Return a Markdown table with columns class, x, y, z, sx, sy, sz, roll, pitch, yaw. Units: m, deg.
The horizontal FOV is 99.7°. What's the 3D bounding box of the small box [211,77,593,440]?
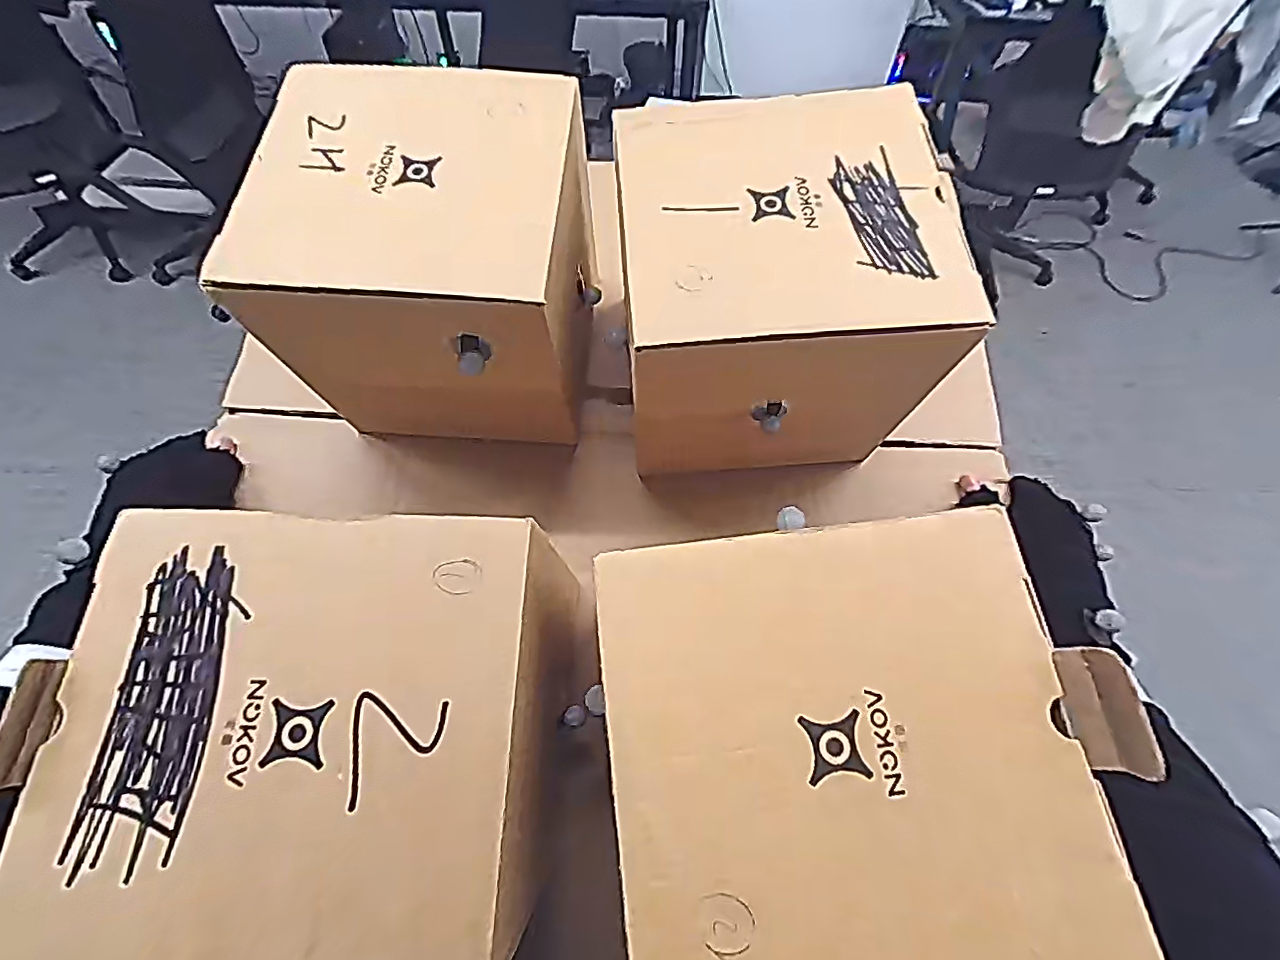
| class | x | y | z | sx | sy | sz | roll | pitch | yaw |
| --- | --- | --- | --- | --- | --- | --- | --- | --- | --- |
| small box | -0.131 | -0.138 | 0.381 | 0.179 | 0.176 | 0.168 | 4 | 69 | 2 |
